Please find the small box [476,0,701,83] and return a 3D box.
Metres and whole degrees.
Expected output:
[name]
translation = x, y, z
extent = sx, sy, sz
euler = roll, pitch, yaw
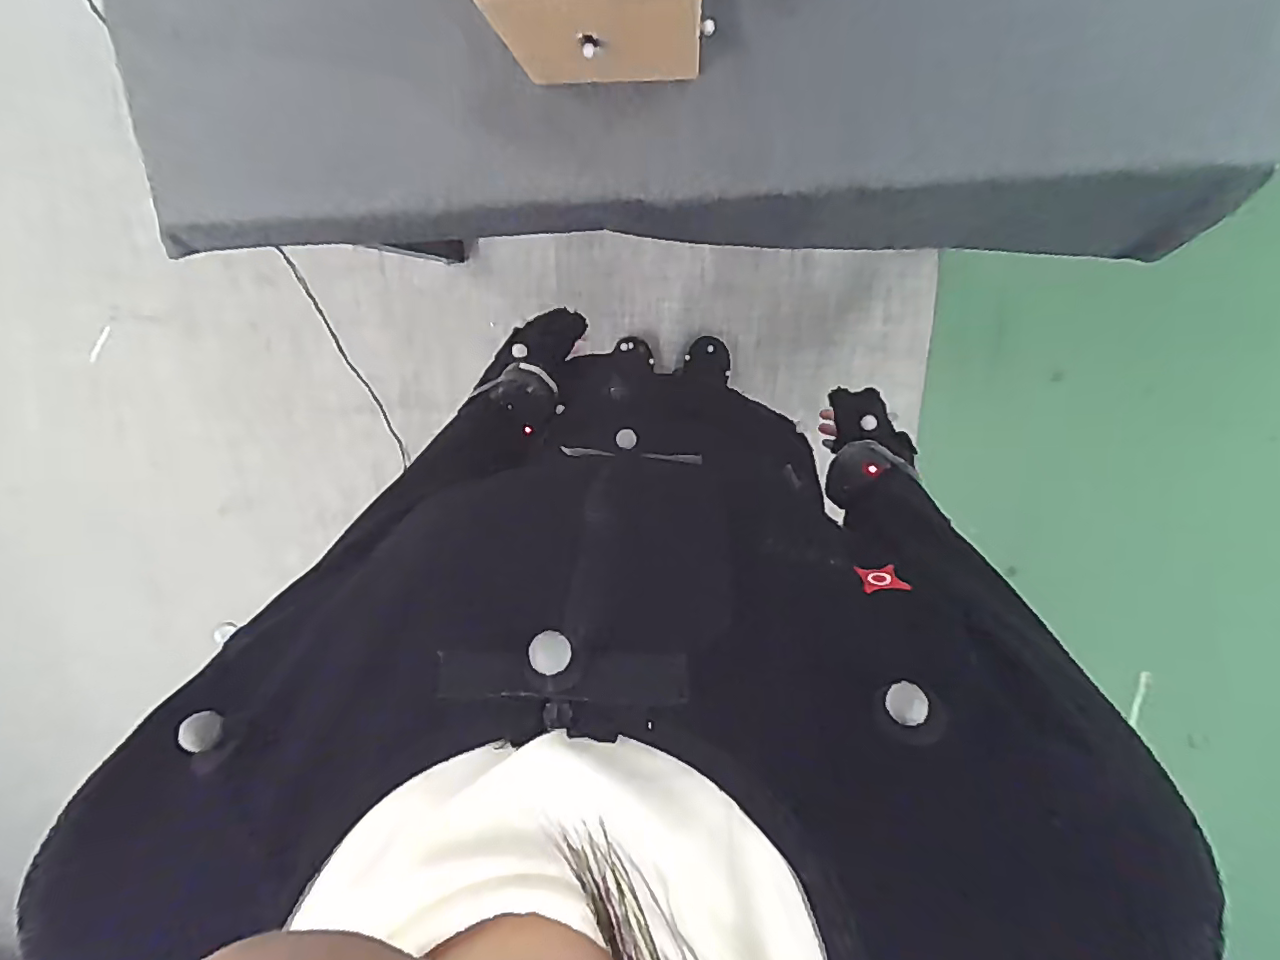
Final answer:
[small box]
translation = -0.033, -0.472, 0.467
extent = 0.179, 0.176, 0.168
euler = 3, 107, 7
